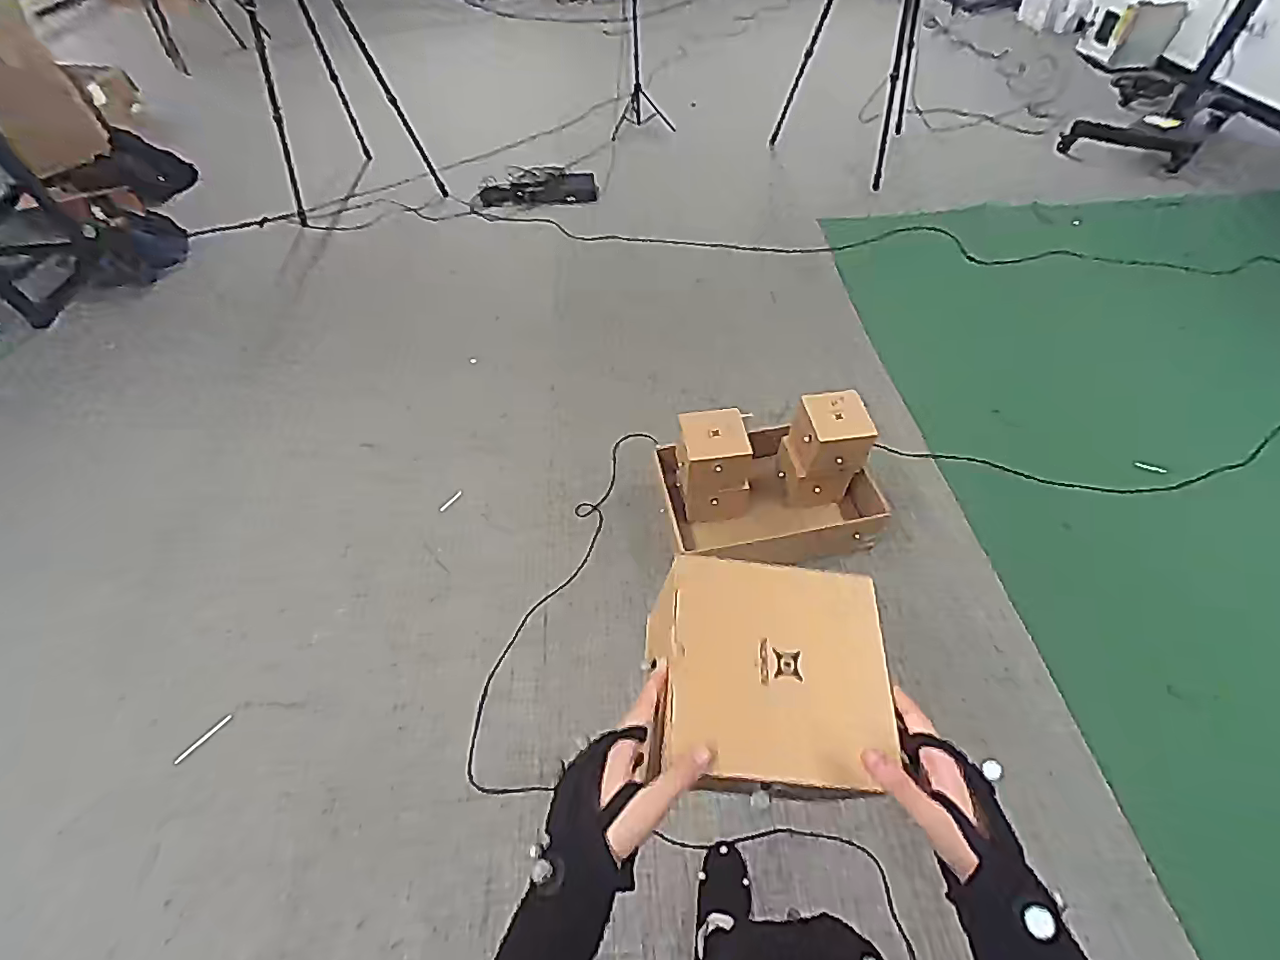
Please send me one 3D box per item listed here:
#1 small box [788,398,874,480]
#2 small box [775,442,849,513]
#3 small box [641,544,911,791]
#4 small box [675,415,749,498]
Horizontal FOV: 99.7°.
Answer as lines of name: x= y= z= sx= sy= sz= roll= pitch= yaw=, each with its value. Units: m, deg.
small box: x=0.542 y=-0.111 z=1.560 sx=0.168 sy=0.176 sz=0.179 roll=-6 pitch=53 yaw=-4
small box: x=0.530 y=-0.012 z=1.692 sx=0.179 sy=0.176 sz=0.168 roll=-7 pitch=53 yaw=-3
small box: x=0.103 y=0.176 z=0.484 sx=0.179 sy=0.176 sz=0.168 roll=7 pitch=57 yaw=-3
small box: x=0.196 y=-0.061 z=1.532 sx=0.179 sy=0.176 sz=0.168 roll=-6 pitch=54 yaw=-4
